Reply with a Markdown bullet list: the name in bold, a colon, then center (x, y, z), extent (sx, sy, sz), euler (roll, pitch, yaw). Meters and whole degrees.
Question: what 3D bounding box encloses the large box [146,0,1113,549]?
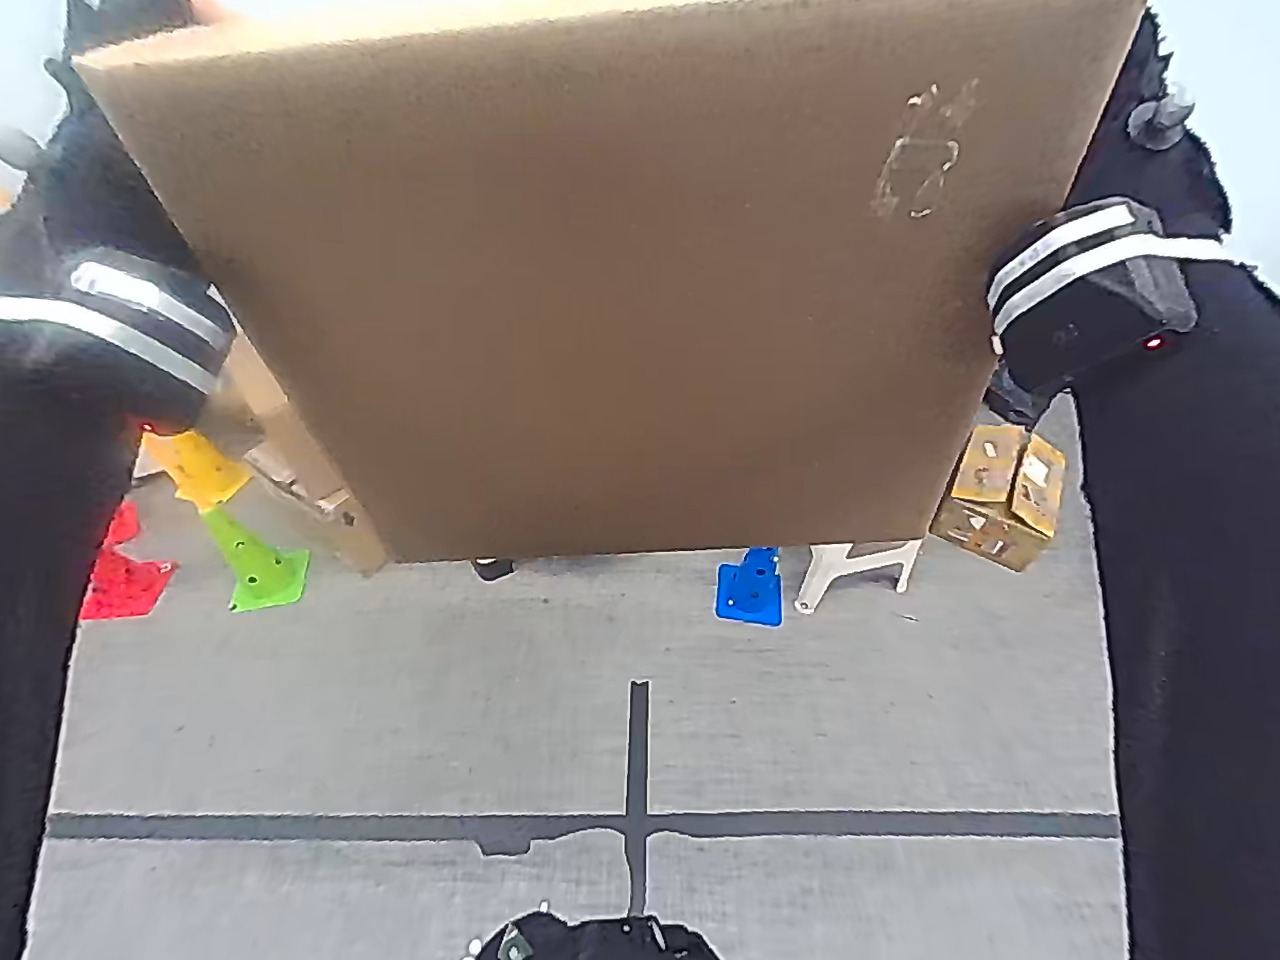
- **large box**: center (-0.003, -0.165, 0.426), extent (0.408, 0.320, 0.320), euler (-3, 43, 2)
